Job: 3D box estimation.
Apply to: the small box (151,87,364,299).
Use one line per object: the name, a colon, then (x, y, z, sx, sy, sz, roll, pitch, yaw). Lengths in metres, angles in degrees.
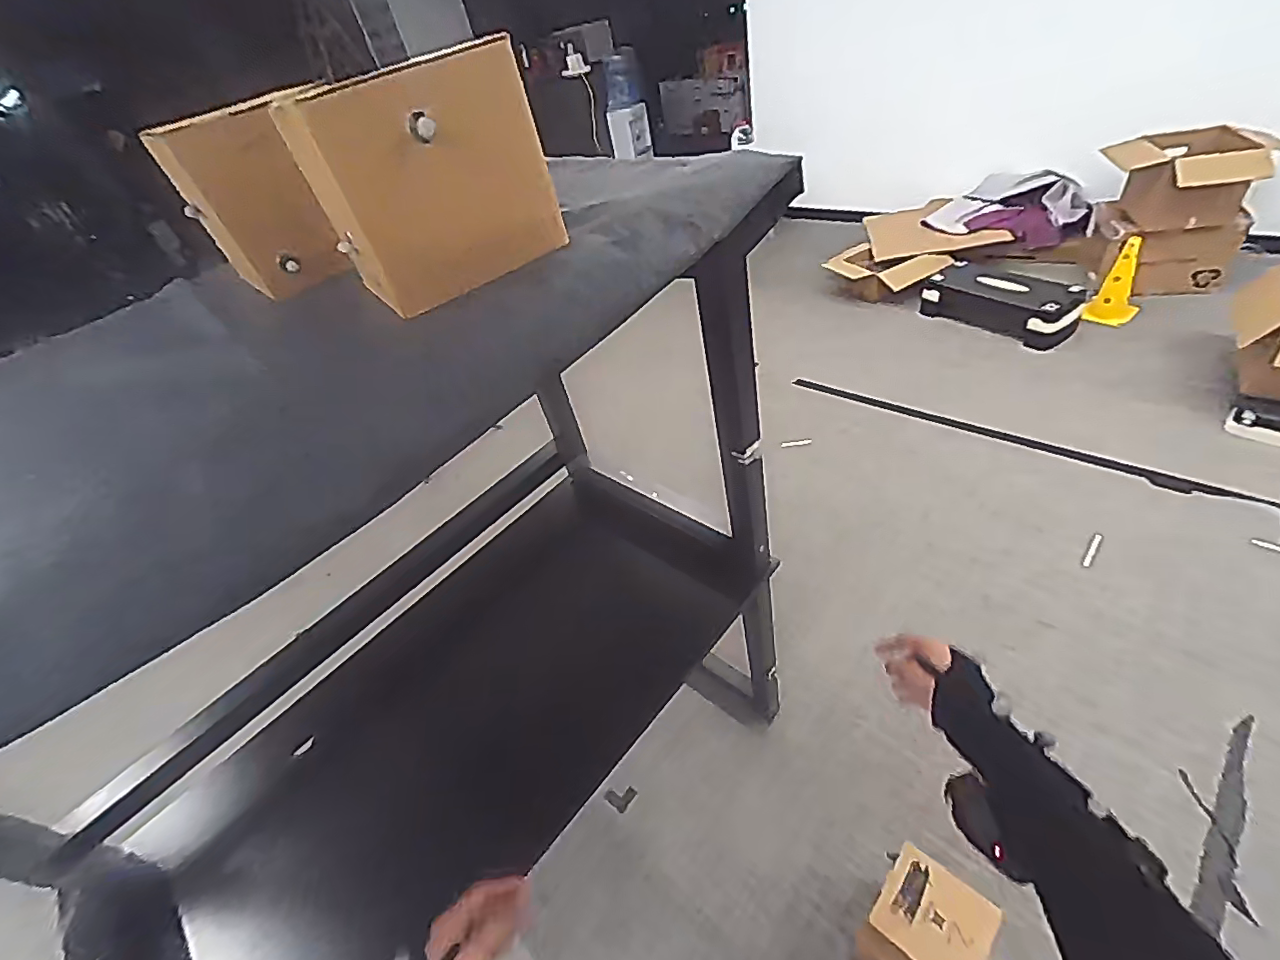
small box: (-0.413, -0.332, 0.635, 0.168, 0.176, 0.179, -40, 46, -24)

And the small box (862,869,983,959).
small box: (0.576, 0.965, 1.122, 0.168, 0.176, 0.179, 24, 56, 36)

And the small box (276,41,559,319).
small box: (-0.195, -0.279, 0.508, 0.179, 0.176, 0.168, -34, 43, -18)
